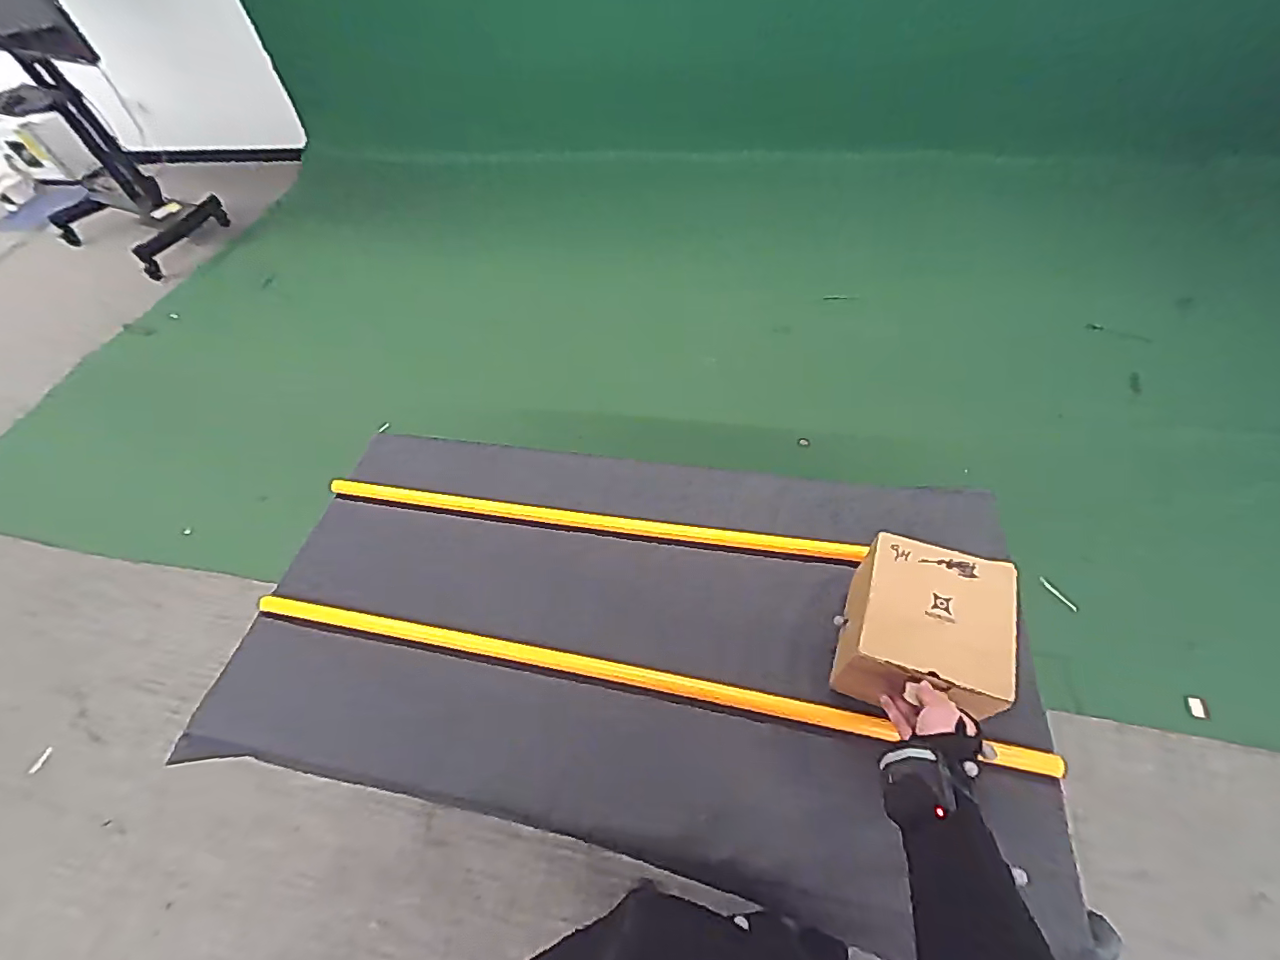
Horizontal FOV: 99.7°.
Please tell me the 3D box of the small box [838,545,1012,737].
[{"bbox_3d":[0.370,0.218,0.722,0.168,0.176,0.179,12,56,17],"label":"small box"}]
